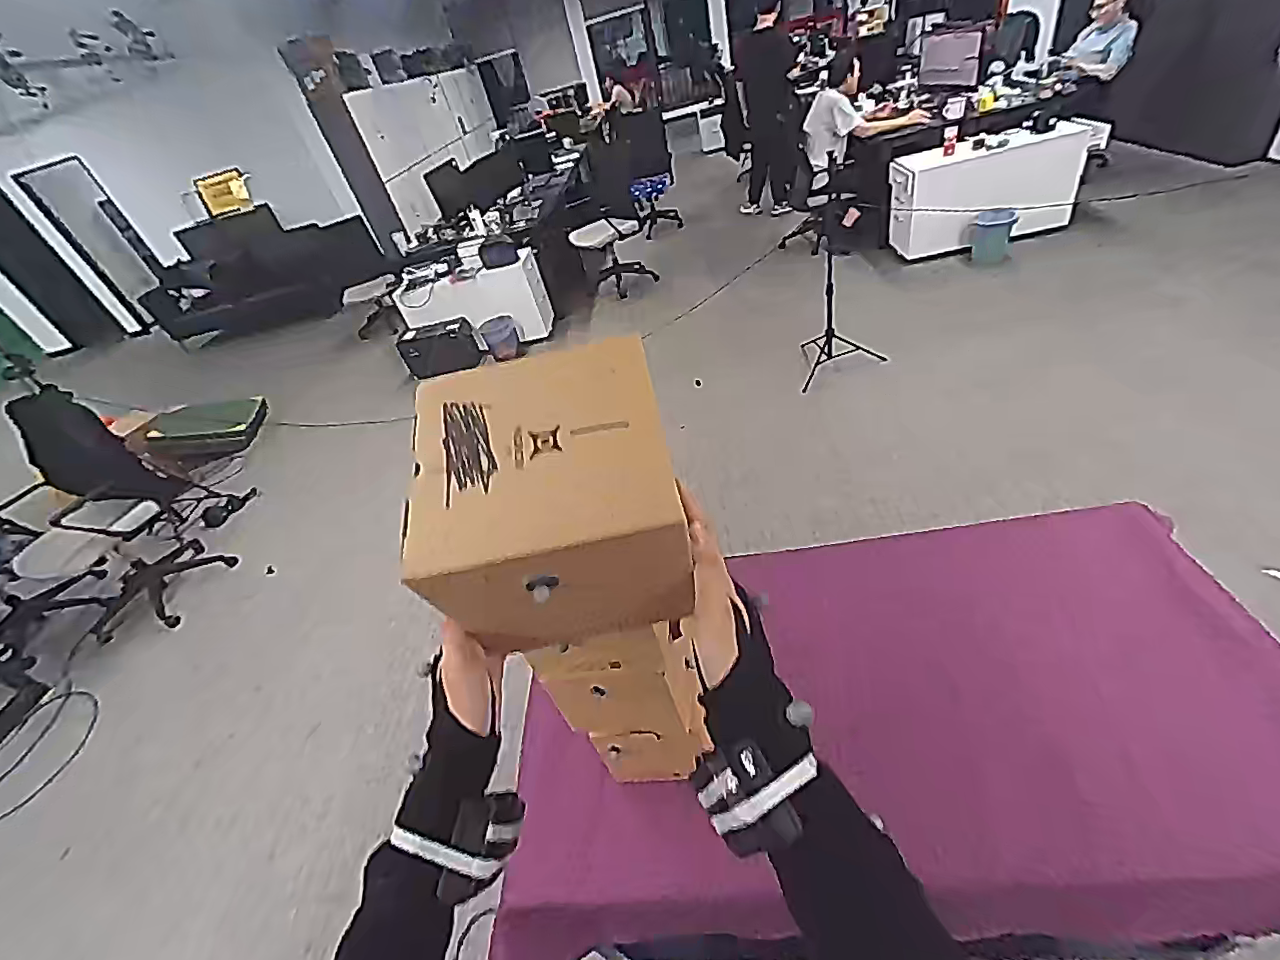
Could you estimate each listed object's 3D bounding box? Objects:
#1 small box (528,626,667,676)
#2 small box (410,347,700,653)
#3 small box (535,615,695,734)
[{"bbox_3d":[-0.060,0.132,0.686,0.168,0.176,0.179,-8,38,10],"label":"small box"},{"bbox_3d":[-0.055,0.026,0.435,0.179,0.176,0.168,-12,56,1],"label":"small box"},{"bbox_3d":[-0.025,0.252,0.791,0.179,0.176,0.168,-4,40,15],"label":"small box"}]
